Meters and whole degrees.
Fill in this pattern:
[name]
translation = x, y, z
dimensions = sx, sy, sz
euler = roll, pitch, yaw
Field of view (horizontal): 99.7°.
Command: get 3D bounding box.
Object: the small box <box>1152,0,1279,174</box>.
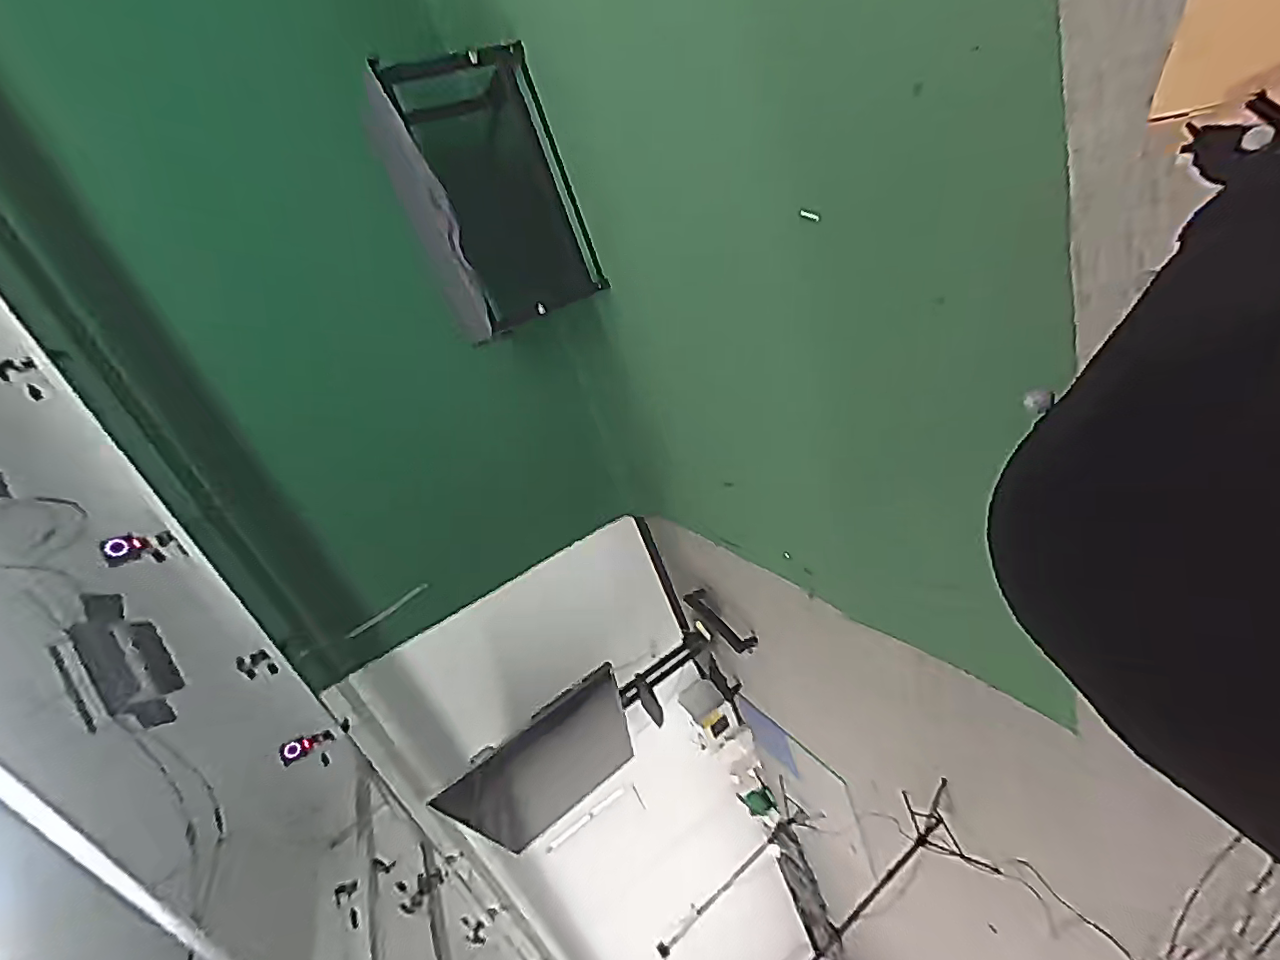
[small box]
translation = 0.604, -0.401, 0.480
dimensions = 0.168, 0.179, 0.176
euler = 24, 112, 49
